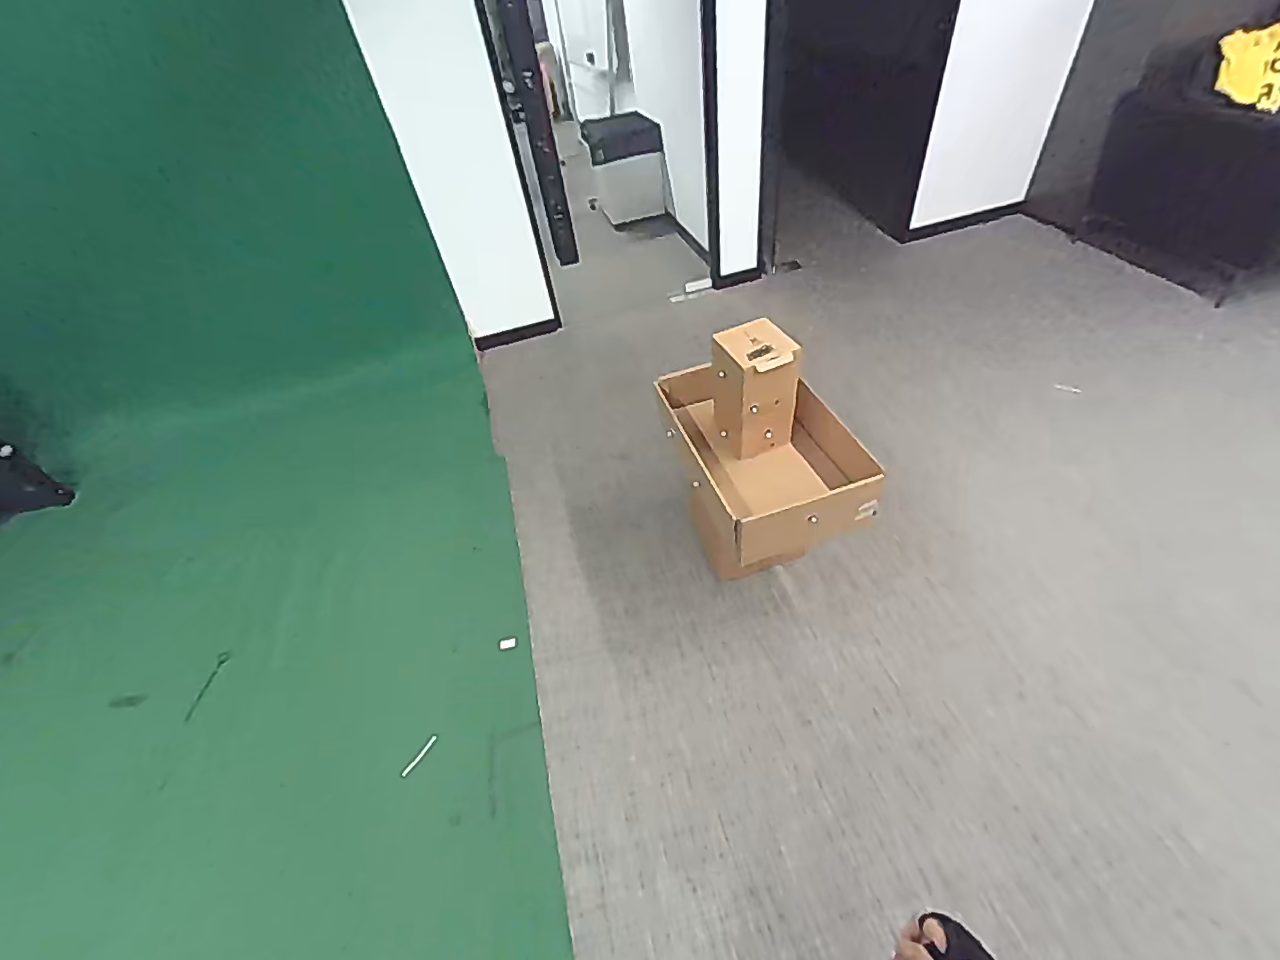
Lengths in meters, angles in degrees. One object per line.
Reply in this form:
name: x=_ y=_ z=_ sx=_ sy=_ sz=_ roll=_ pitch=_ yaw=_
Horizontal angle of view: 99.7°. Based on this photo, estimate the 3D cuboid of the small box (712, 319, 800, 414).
small box: x=0.304 y=-0.296 z=1.443 sx=0.168 sy=0.176 sz=0.179 roll=-20 pitch=48 yaw=-10

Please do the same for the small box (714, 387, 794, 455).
small box: x=0.325 y=-0.194 z=1.570 sx=0.168 sy=0.176 sz=0.179 roll=-19 pitch=50 yaw=-10
